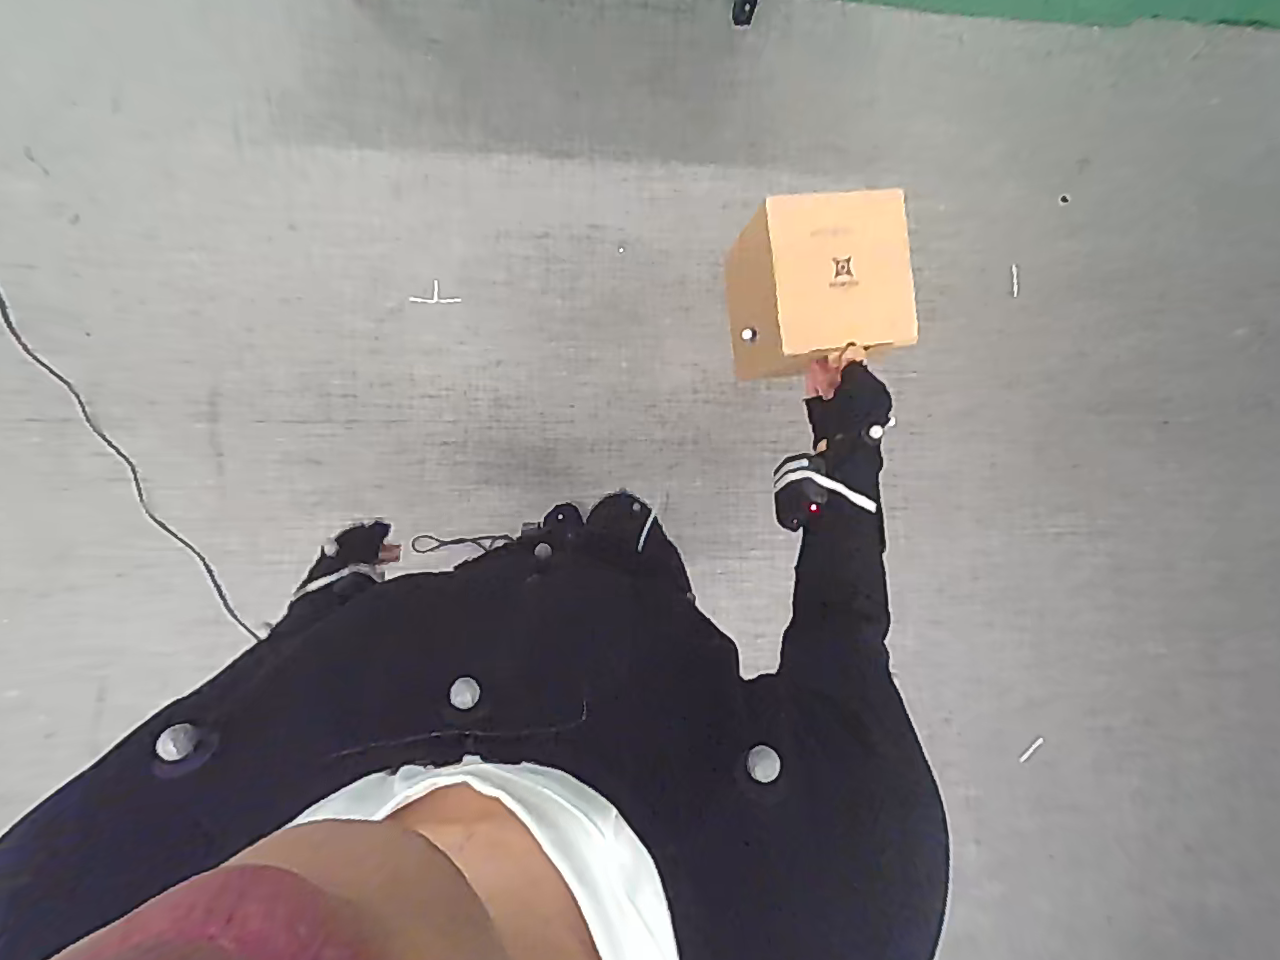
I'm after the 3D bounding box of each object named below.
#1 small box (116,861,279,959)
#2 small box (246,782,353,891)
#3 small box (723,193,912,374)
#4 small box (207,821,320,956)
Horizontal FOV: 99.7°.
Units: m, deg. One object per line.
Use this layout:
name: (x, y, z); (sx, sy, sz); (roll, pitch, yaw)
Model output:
small box: (-0.779, 0.823, 0.959); (0.168, 0.176, 0.179); (7, 85, -6)
small box: (-0.804, 0.841, 1.287); (0.168, 0.176, 0.179); (-2, 85, -4)
small box: (0.213, -0.234, 0.684); (0.168, 0.176, 0.179); (-6, 91, -8)
small box: (-0.790, 0.835, 1.121); (0.168, 0.176, 0.179); (2, 87, -7)
